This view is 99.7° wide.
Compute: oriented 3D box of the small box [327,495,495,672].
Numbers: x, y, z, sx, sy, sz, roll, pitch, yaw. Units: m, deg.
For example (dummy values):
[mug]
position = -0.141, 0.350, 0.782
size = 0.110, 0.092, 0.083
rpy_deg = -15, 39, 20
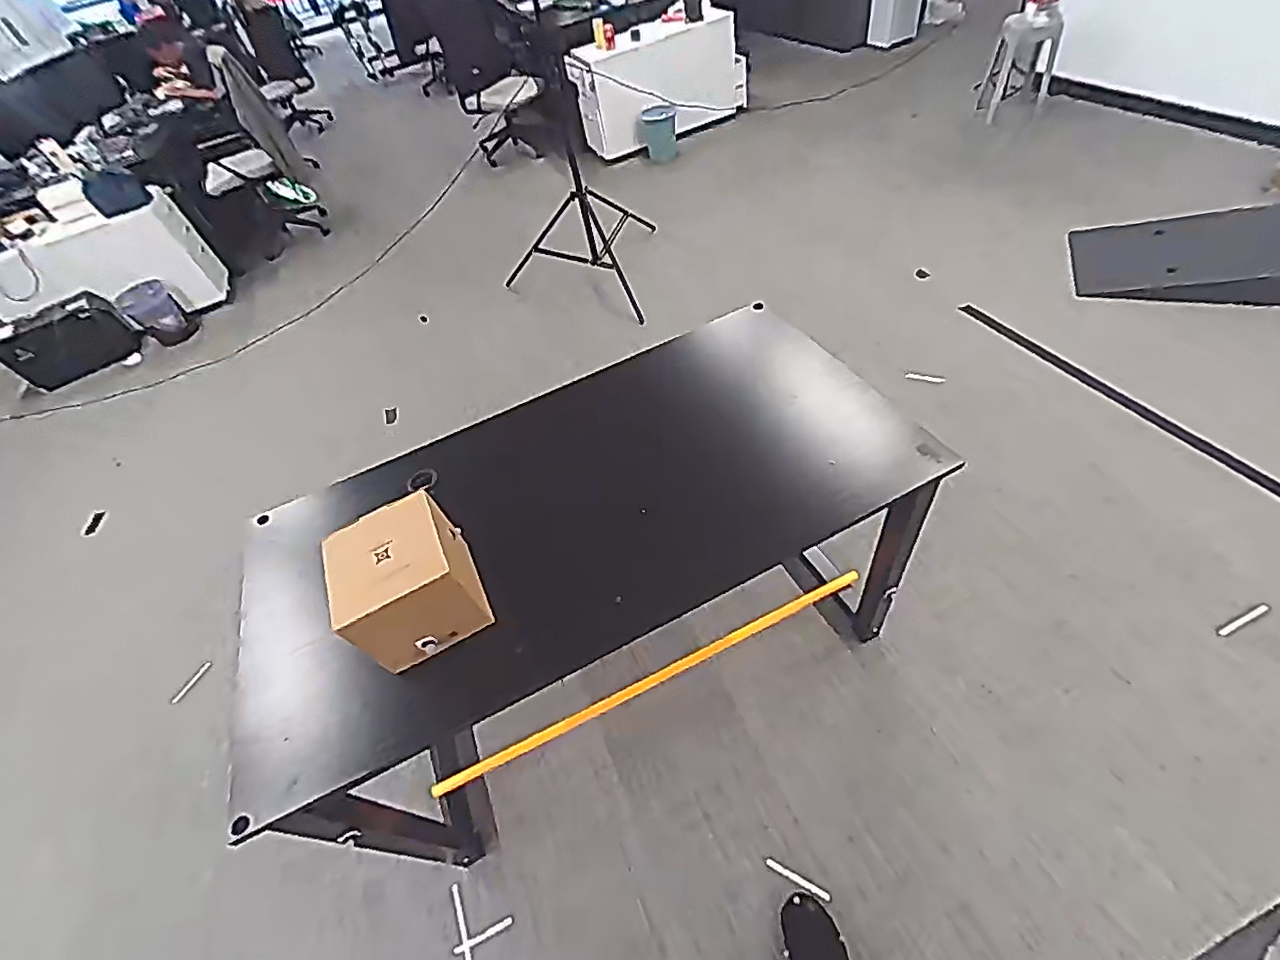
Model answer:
[small box]
position = -0.350, 0.162, 0.839
size = 0.168, 0.176, 0.179
rpy_deg = -28, 51, -10
